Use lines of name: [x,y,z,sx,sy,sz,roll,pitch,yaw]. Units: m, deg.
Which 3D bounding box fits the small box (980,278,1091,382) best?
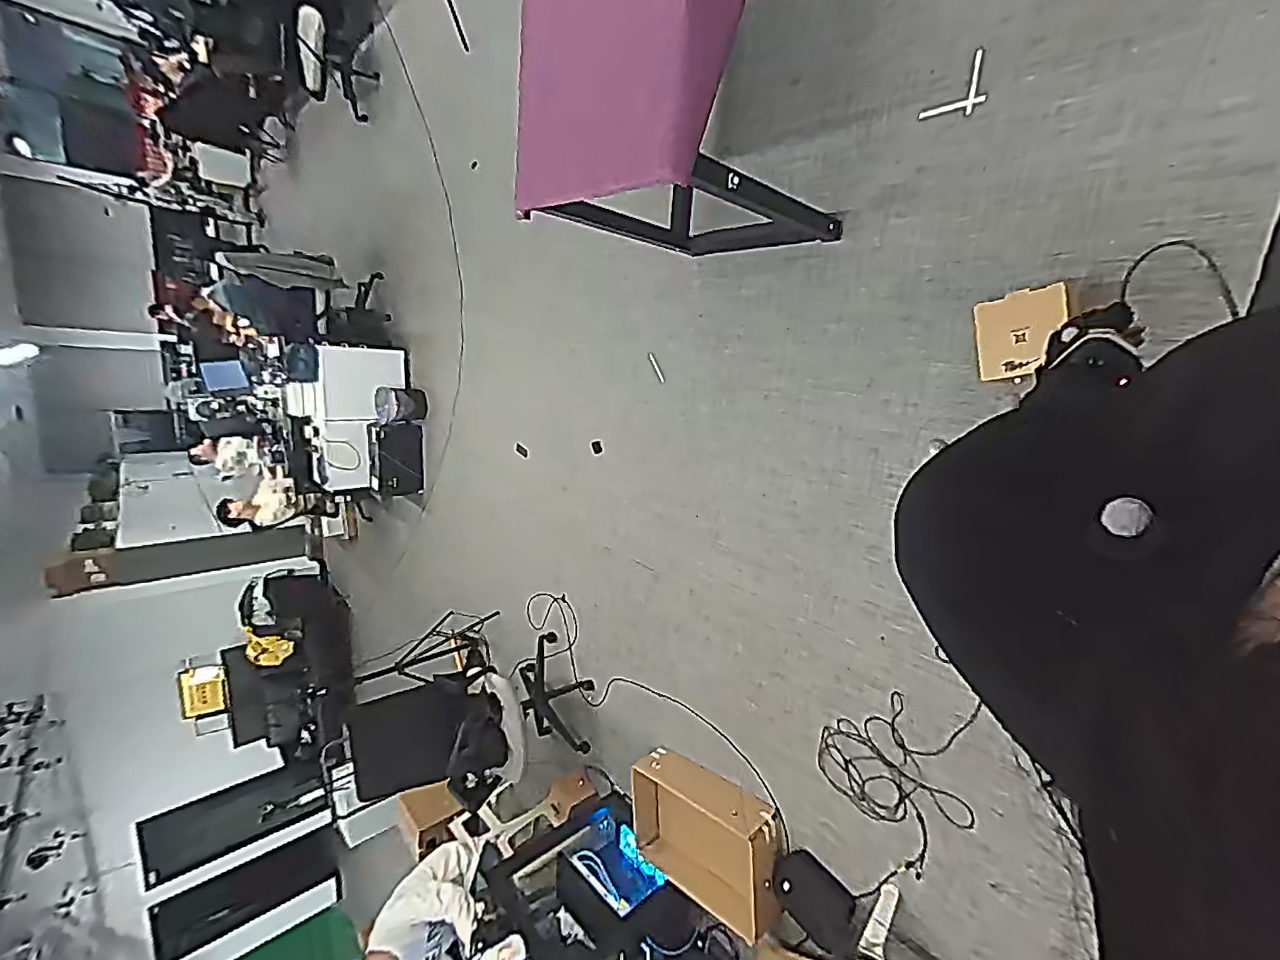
small box: [0.869,-0.318,1.188,0.168,0.176,0.179,-5,91,48]
